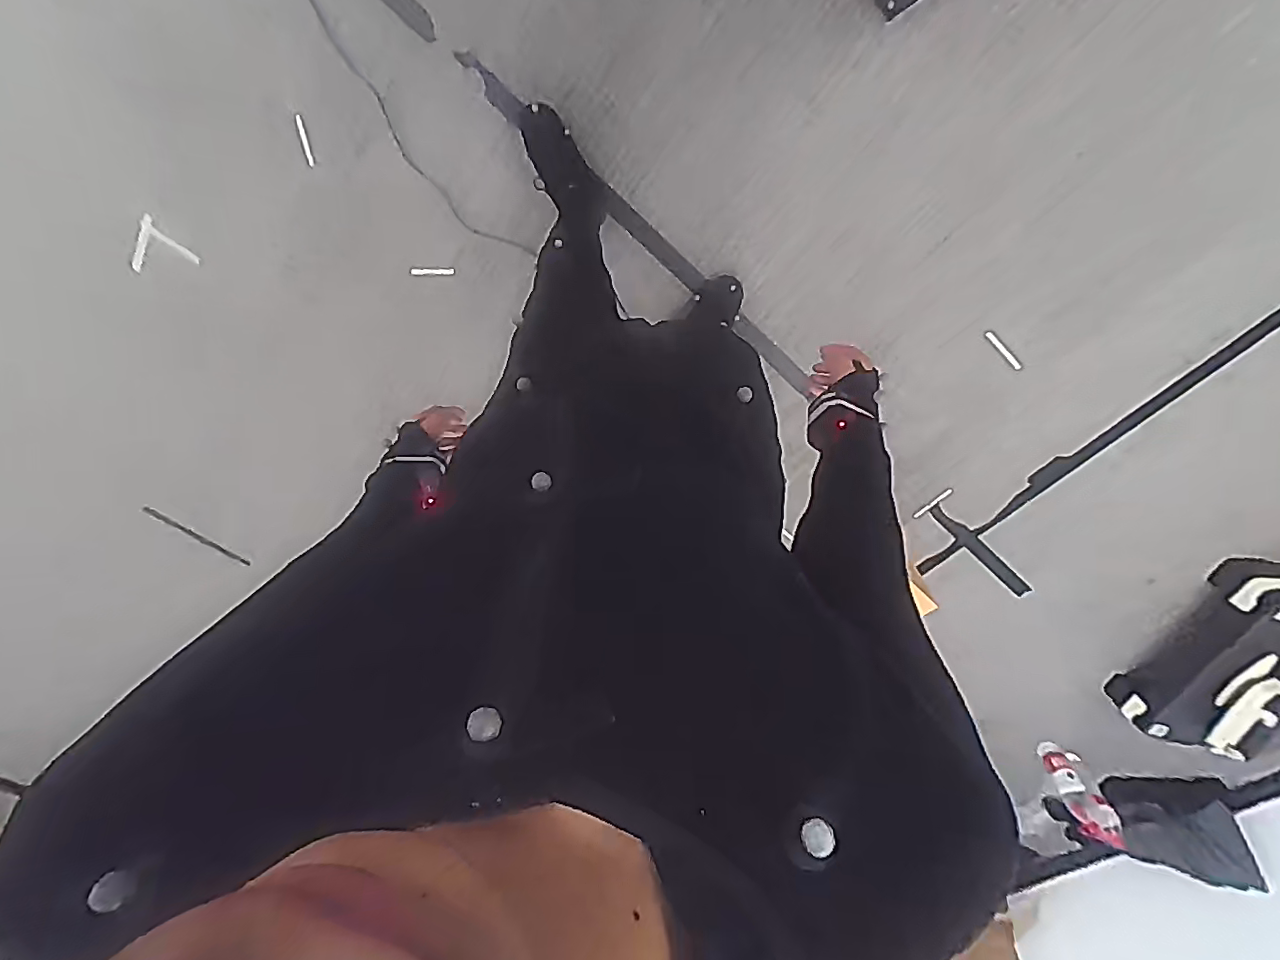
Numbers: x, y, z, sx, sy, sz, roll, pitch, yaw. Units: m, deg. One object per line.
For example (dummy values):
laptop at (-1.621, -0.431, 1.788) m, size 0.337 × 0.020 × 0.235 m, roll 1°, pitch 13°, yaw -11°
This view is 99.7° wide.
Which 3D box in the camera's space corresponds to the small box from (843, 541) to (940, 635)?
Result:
small box at (0.723, 0.310, 1.572) m, size 0.179 × 0.176 × 0.168 m, roll 39°, pitch 116°, yaw -16°
